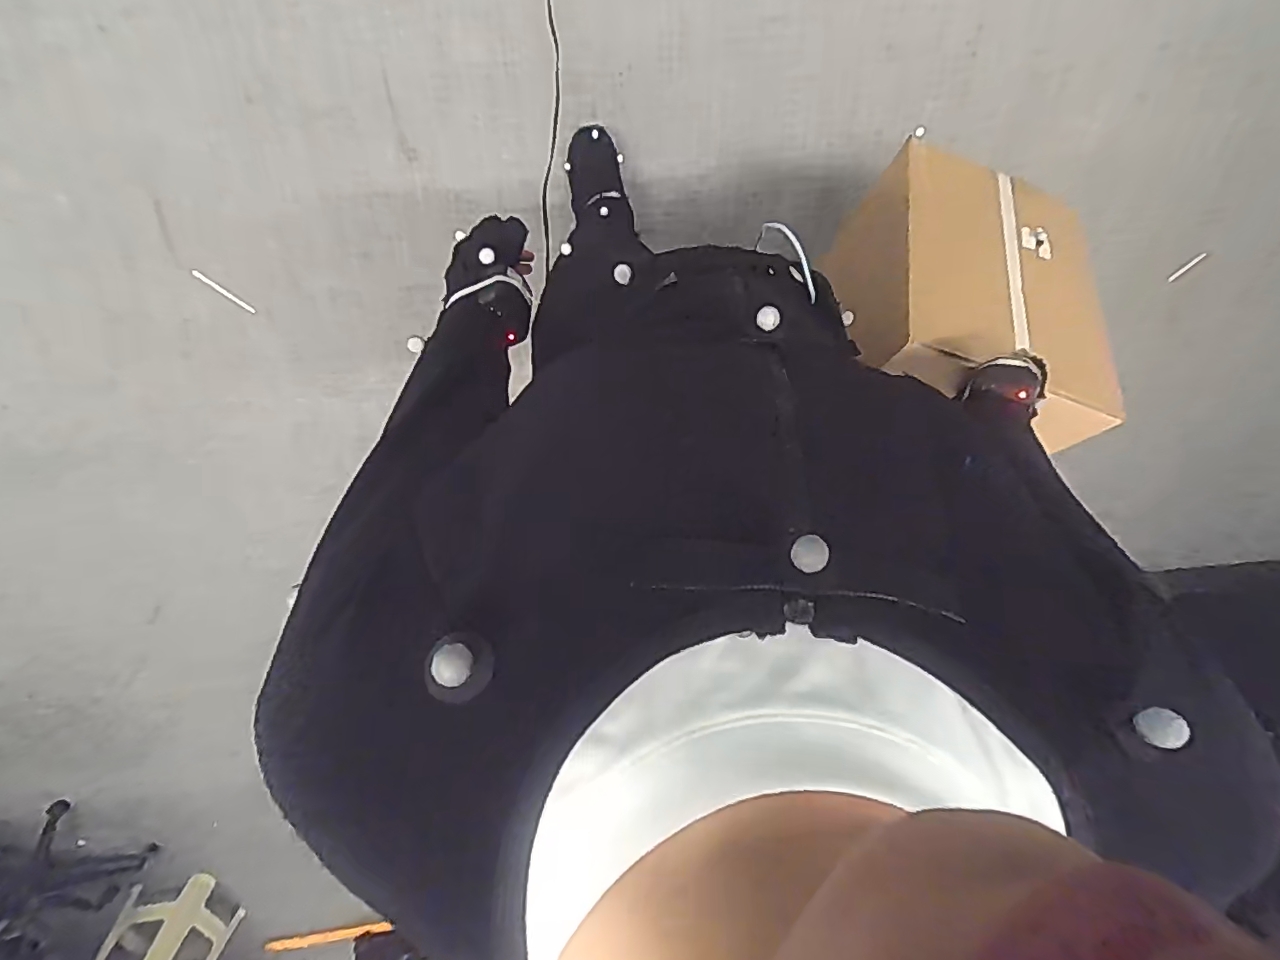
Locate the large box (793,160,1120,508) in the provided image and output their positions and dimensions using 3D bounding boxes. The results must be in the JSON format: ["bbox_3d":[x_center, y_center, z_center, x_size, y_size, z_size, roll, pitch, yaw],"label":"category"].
[{"bbox_3d":[0.471,-0.217,0.888,0.320,0.408,0.320,17,153,-8],"label":"large box"}]
